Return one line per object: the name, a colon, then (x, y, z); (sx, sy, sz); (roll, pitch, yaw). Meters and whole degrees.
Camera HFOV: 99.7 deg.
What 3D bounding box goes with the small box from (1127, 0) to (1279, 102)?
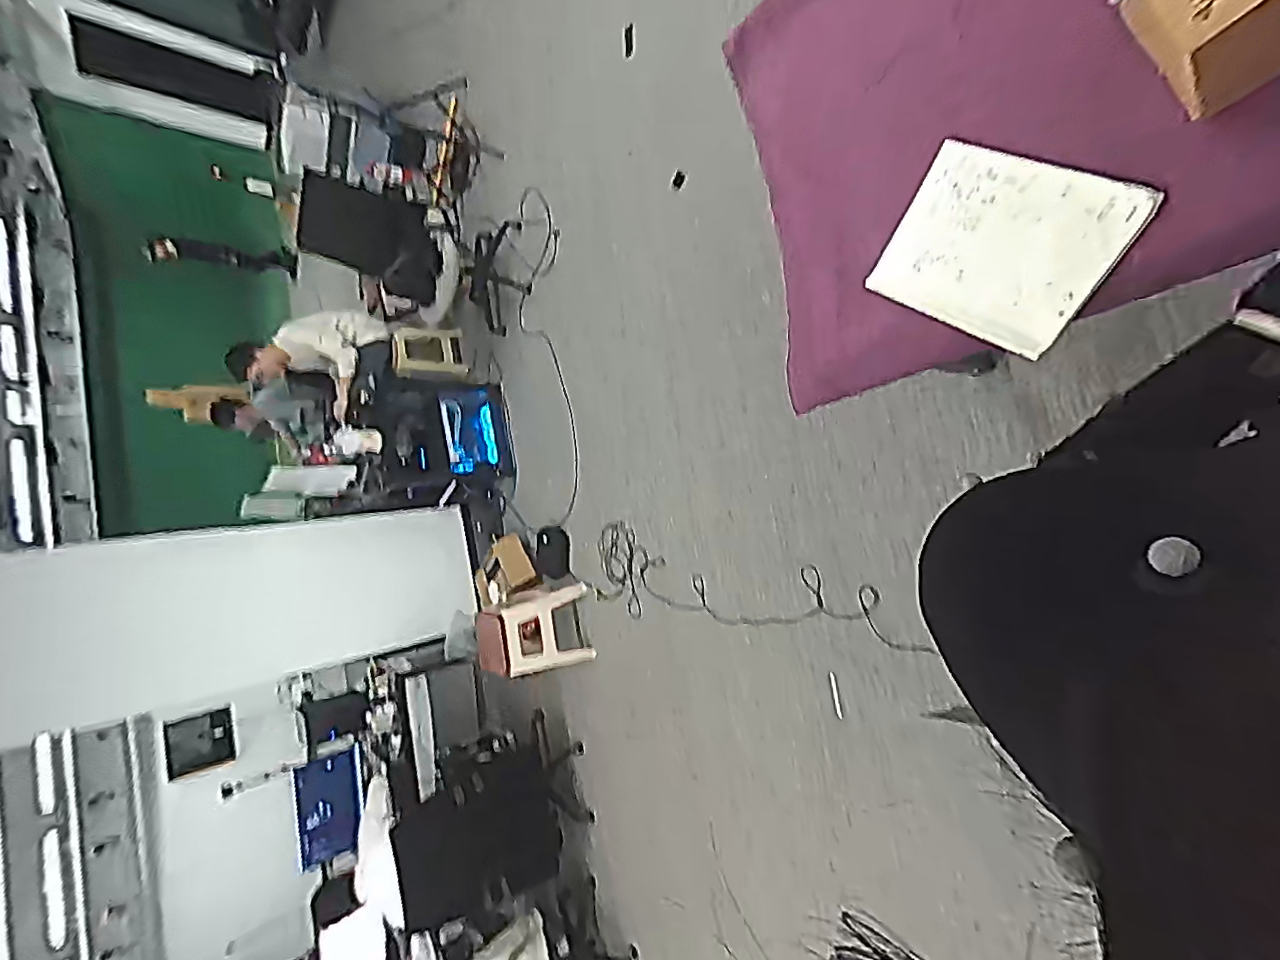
small box: (0.538, -0.476, 0.453); (0.179, 0.176, 0.168); (-33, 69, 46)
